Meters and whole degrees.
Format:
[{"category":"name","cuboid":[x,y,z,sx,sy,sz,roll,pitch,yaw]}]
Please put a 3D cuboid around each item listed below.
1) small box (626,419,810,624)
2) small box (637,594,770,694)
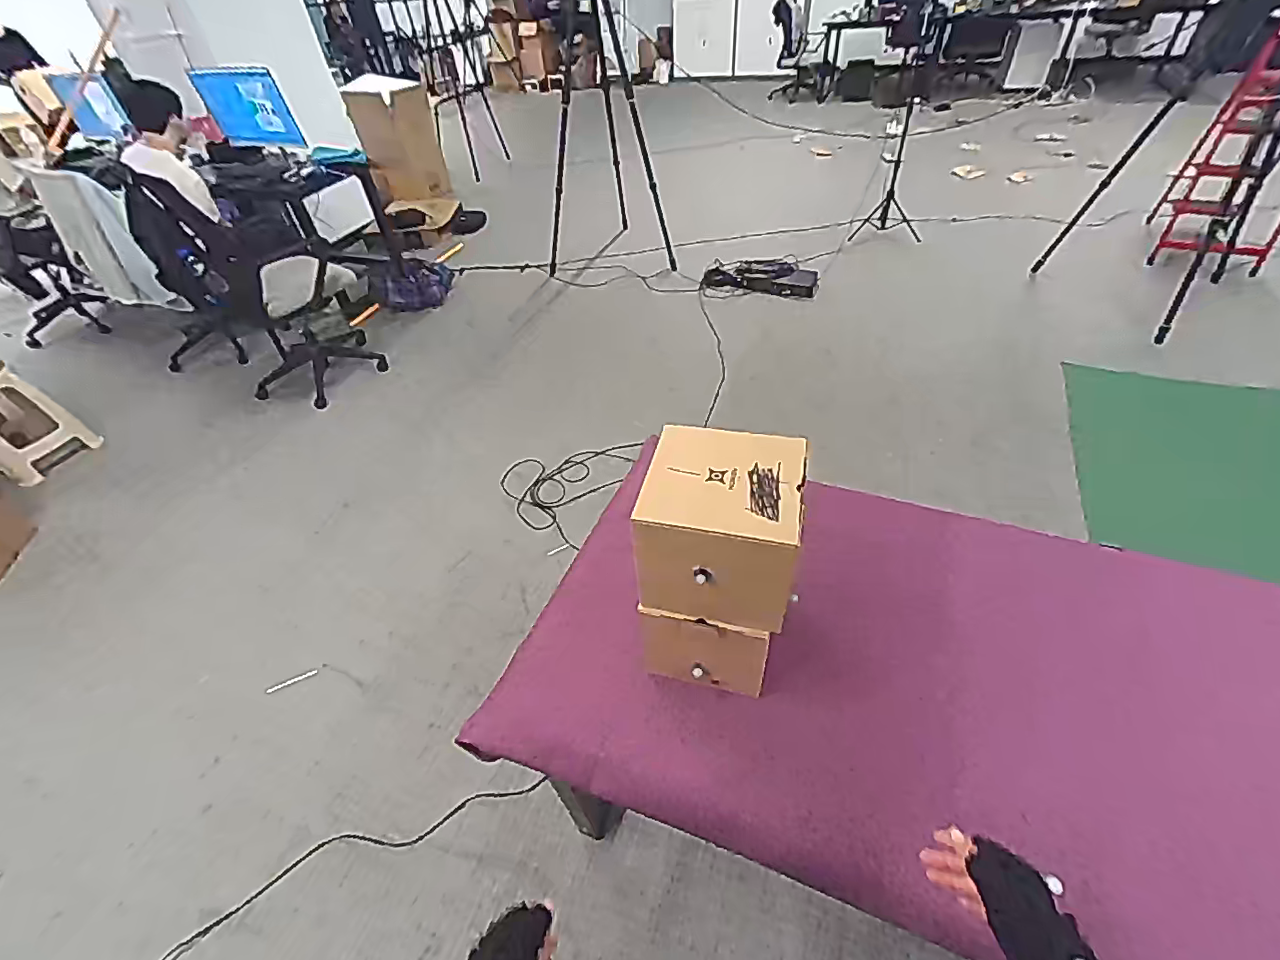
[{"category":"small box","cuboid":[0.097,0.051,0.656,0.179,0.176,0.168,10,45,16]},{"category":"small box","cuboid":[0.102,0.172,0.772,0.168,0.176,0.179,8,46,15]}]
